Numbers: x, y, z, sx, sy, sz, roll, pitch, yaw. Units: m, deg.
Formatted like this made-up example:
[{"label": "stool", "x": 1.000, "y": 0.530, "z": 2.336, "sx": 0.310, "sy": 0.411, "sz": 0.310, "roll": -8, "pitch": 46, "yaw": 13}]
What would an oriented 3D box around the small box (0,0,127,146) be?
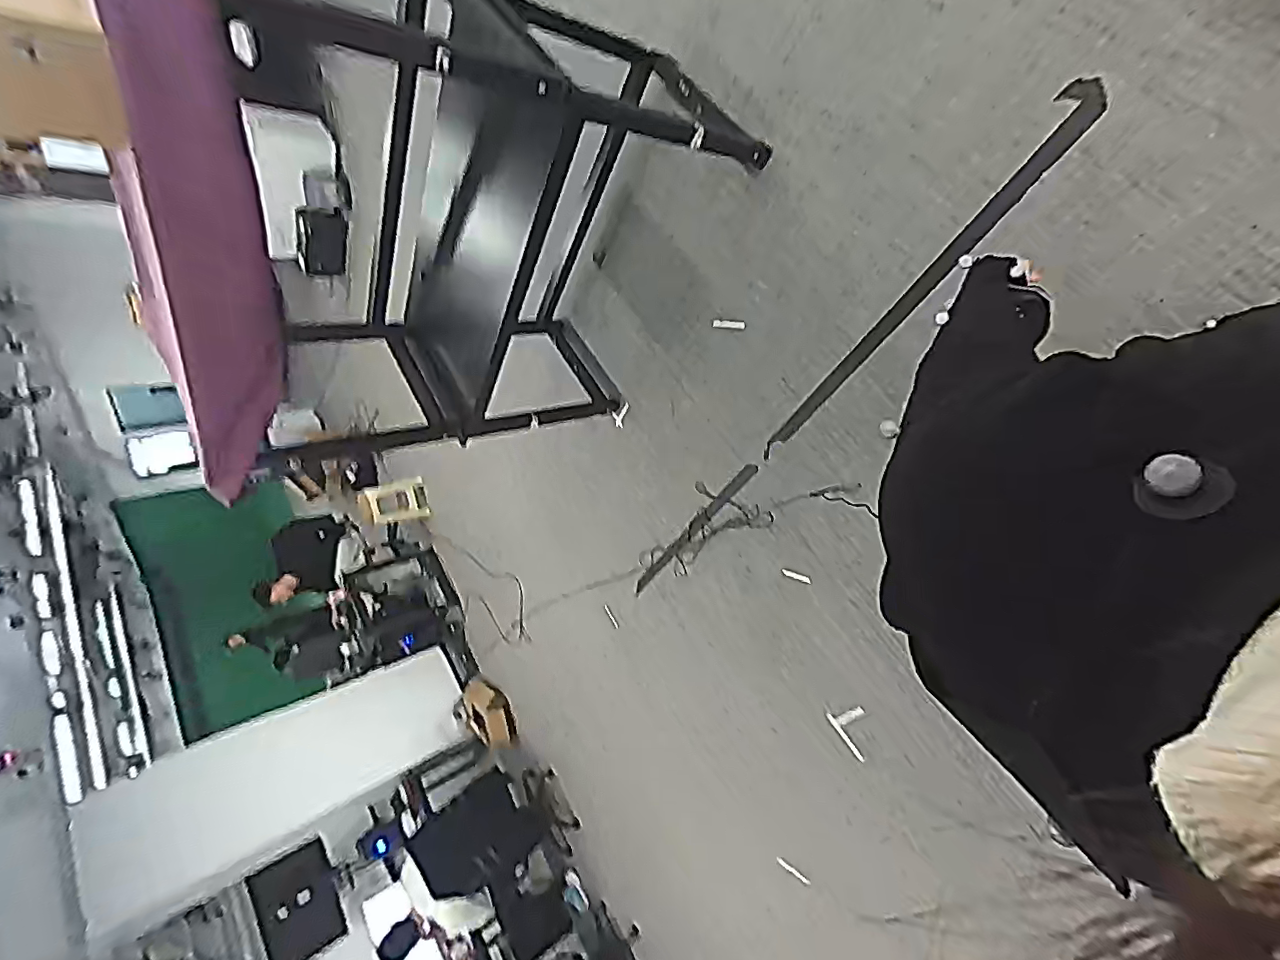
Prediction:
[{"label": "small box", "x": -0.893, "y": -0.630, "z": 0.788, "sx": 0.168, "sy": 0.176, "sz": 0.179, "roll": 59, "pitch": 139, "yaw": 19}]
